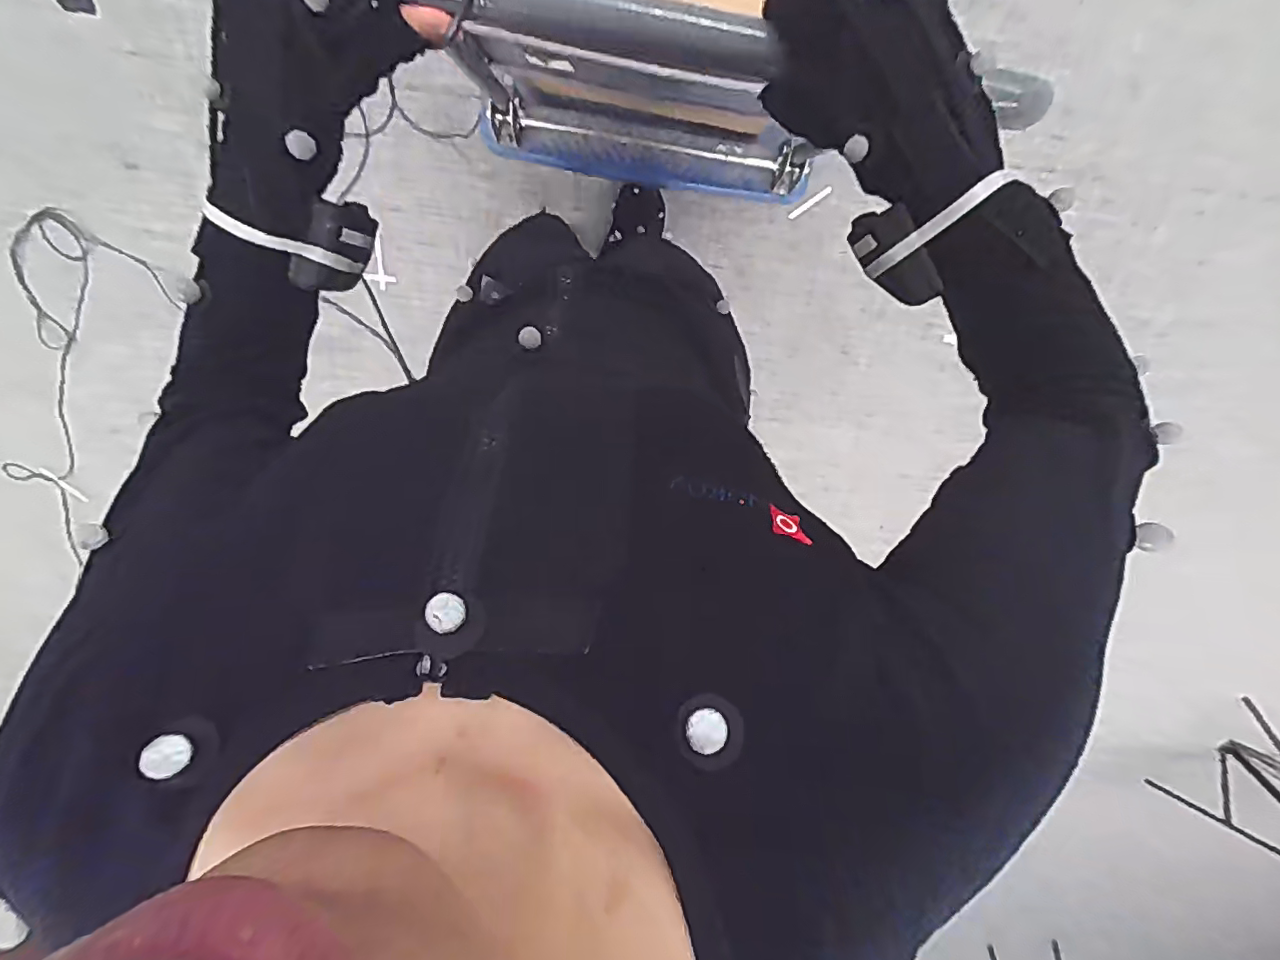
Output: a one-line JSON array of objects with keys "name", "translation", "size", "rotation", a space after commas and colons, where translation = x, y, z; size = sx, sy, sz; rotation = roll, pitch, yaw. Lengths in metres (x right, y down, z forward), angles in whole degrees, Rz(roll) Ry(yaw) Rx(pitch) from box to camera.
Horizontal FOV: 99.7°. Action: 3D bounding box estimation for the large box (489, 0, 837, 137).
[{"name": "large box", "translation": [0.032, -0.696, 0.718], "size": [0.408, 0.320, 0.320], "rotation": [7, 111, -6]}]
